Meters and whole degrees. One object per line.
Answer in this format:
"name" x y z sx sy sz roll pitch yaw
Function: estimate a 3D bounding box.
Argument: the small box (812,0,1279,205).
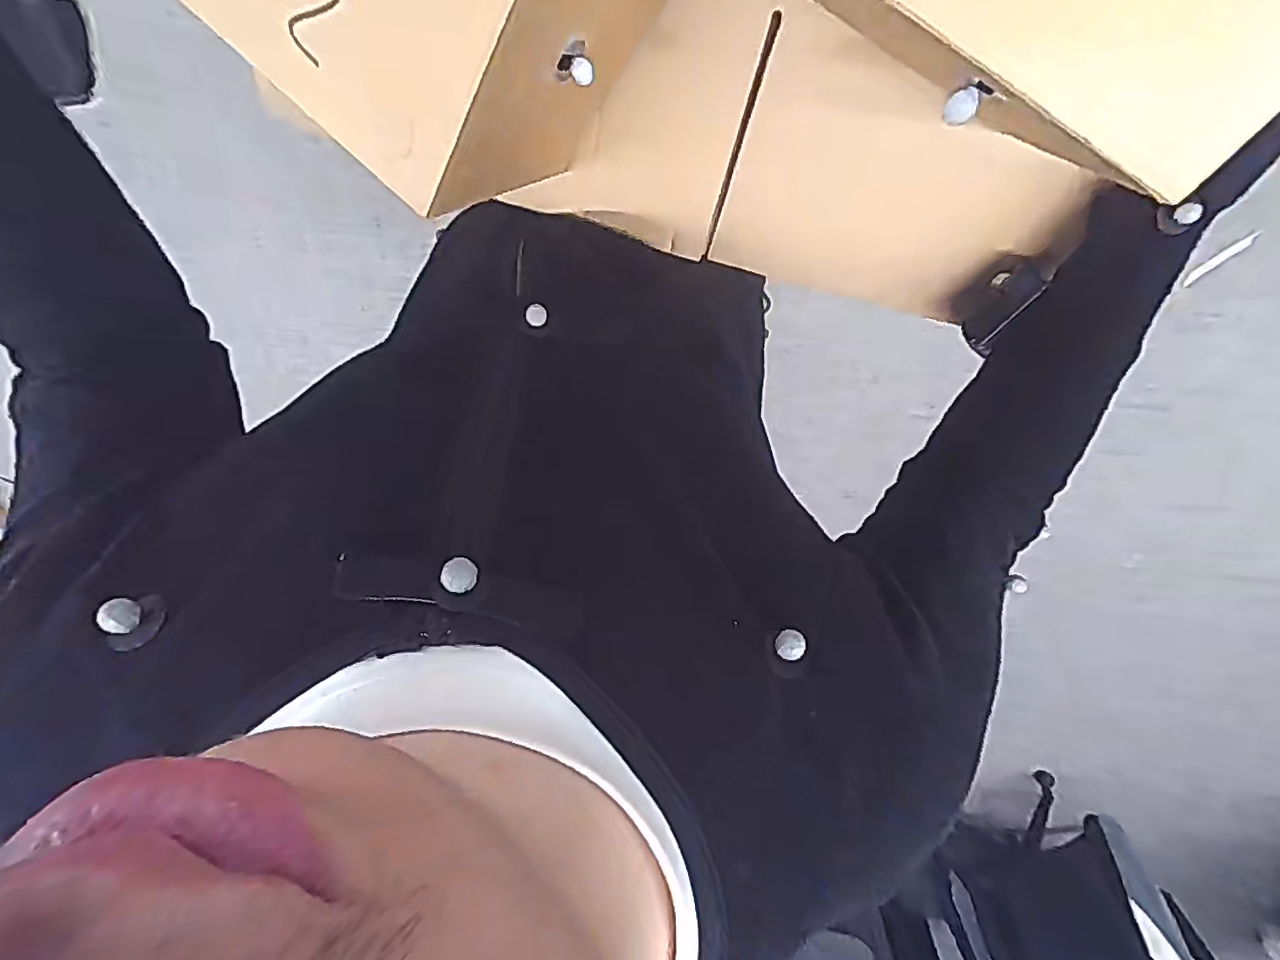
"small box" 0.203 -0.266 0.244 0.179 0.176 0.168 23 130 -13
